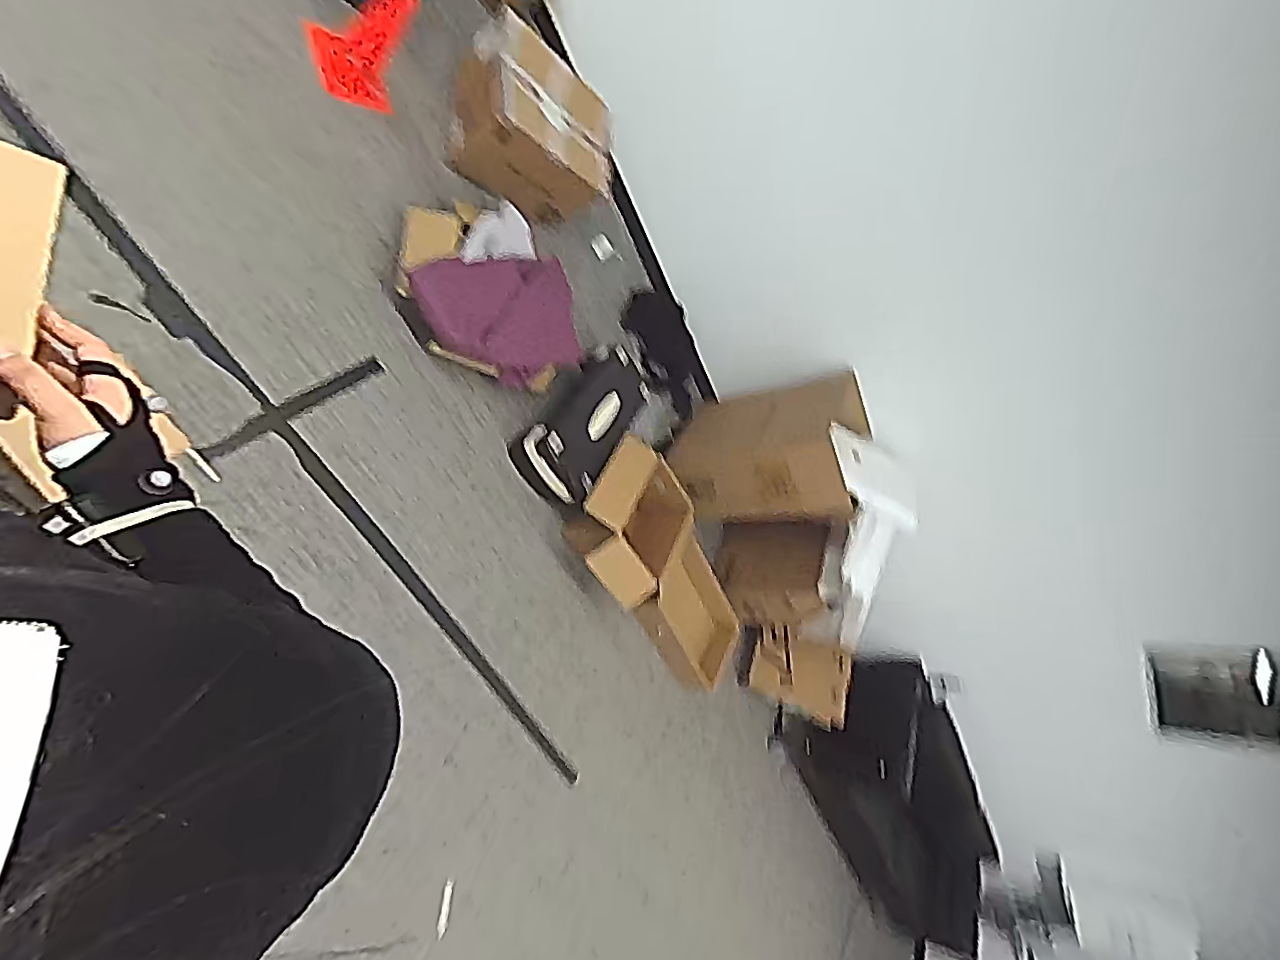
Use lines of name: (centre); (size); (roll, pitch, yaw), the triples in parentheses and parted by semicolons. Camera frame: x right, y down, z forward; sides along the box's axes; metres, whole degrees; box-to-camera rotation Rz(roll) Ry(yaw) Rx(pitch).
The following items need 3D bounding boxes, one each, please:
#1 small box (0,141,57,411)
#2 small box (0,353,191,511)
small box: (-0.542, -0.152, 0.377); (0.168, 0.176, 0.179); (8, 81, -50)
small box: (-0.835, -0.069, 0.805); (0.179, 0.176, 0.168); (-44, 117, -45)
